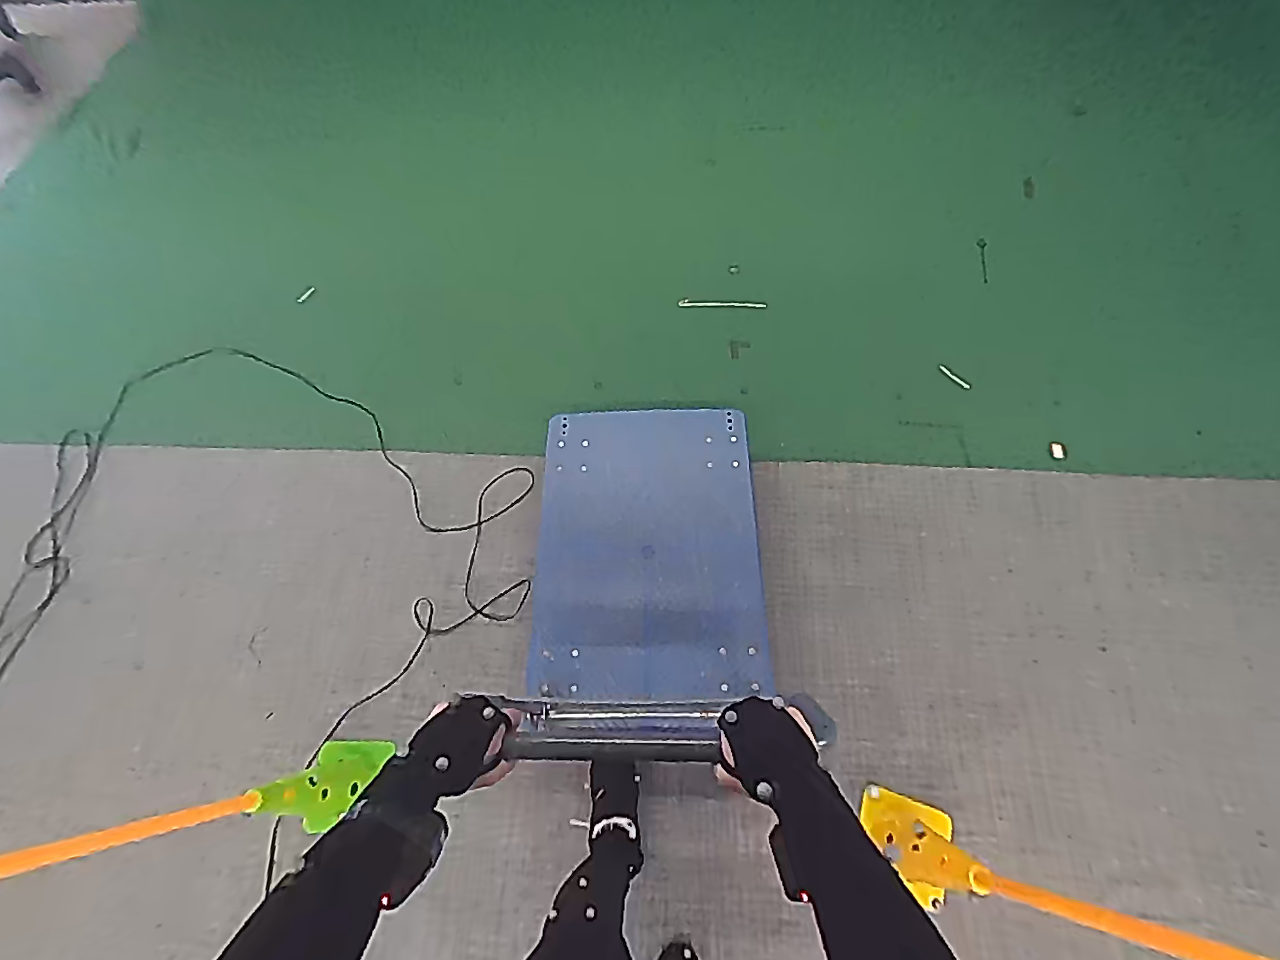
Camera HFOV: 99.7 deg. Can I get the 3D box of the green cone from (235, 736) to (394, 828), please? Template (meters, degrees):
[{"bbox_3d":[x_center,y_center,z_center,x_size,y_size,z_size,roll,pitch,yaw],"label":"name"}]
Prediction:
[{"bbox_3d":[-0.737,0.676,1.194,0.202,0.368,0.200,-2,64,4],"label":"green cone"}]
